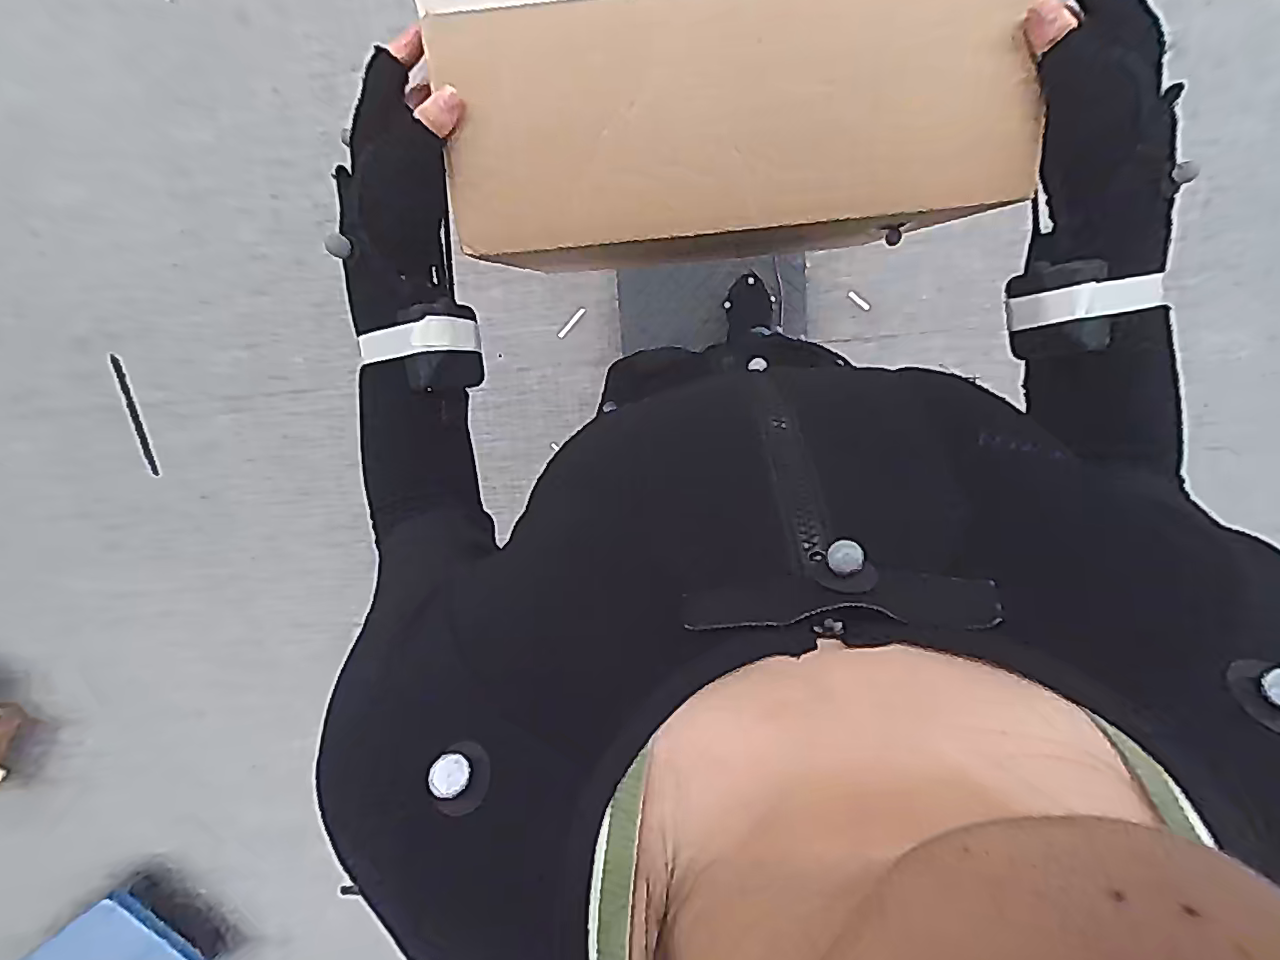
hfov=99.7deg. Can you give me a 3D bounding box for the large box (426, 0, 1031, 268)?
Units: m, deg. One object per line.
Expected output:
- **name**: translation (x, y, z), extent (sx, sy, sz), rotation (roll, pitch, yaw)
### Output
- **large box**: translation (0.059, -0.379, 0.489), extent (0.408, 0.320, 0.320), rotation (-5, 108, 2)
